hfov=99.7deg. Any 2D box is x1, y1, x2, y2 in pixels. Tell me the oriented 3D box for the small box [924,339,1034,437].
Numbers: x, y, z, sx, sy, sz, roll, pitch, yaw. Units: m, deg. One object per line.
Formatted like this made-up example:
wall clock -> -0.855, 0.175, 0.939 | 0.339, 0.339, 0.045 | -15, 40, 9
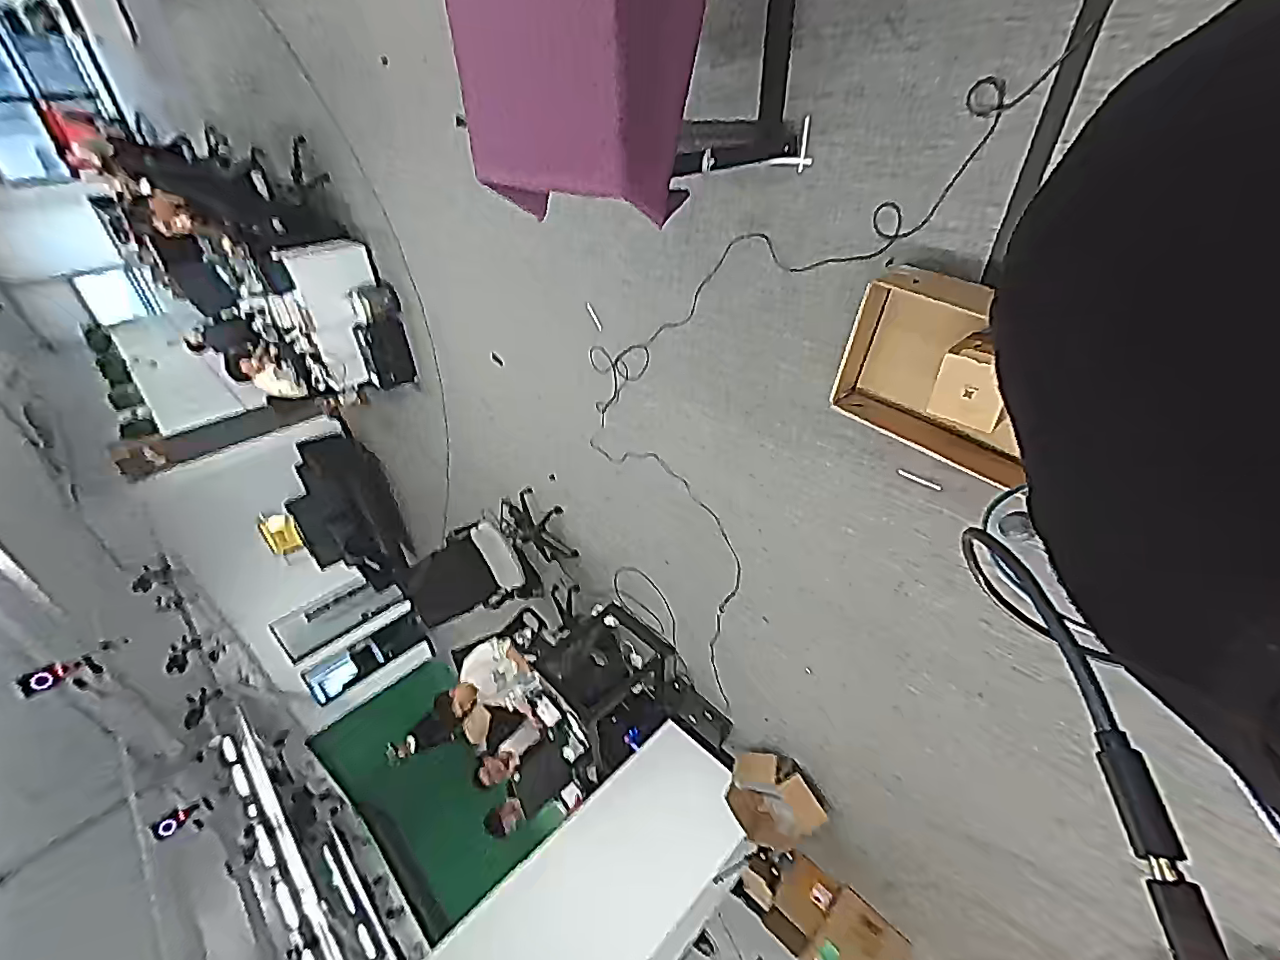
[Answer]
small box -> 0.869, -0.244, 1.382 | 0.168, 0.176, 0.179 | 33, 138, 36
